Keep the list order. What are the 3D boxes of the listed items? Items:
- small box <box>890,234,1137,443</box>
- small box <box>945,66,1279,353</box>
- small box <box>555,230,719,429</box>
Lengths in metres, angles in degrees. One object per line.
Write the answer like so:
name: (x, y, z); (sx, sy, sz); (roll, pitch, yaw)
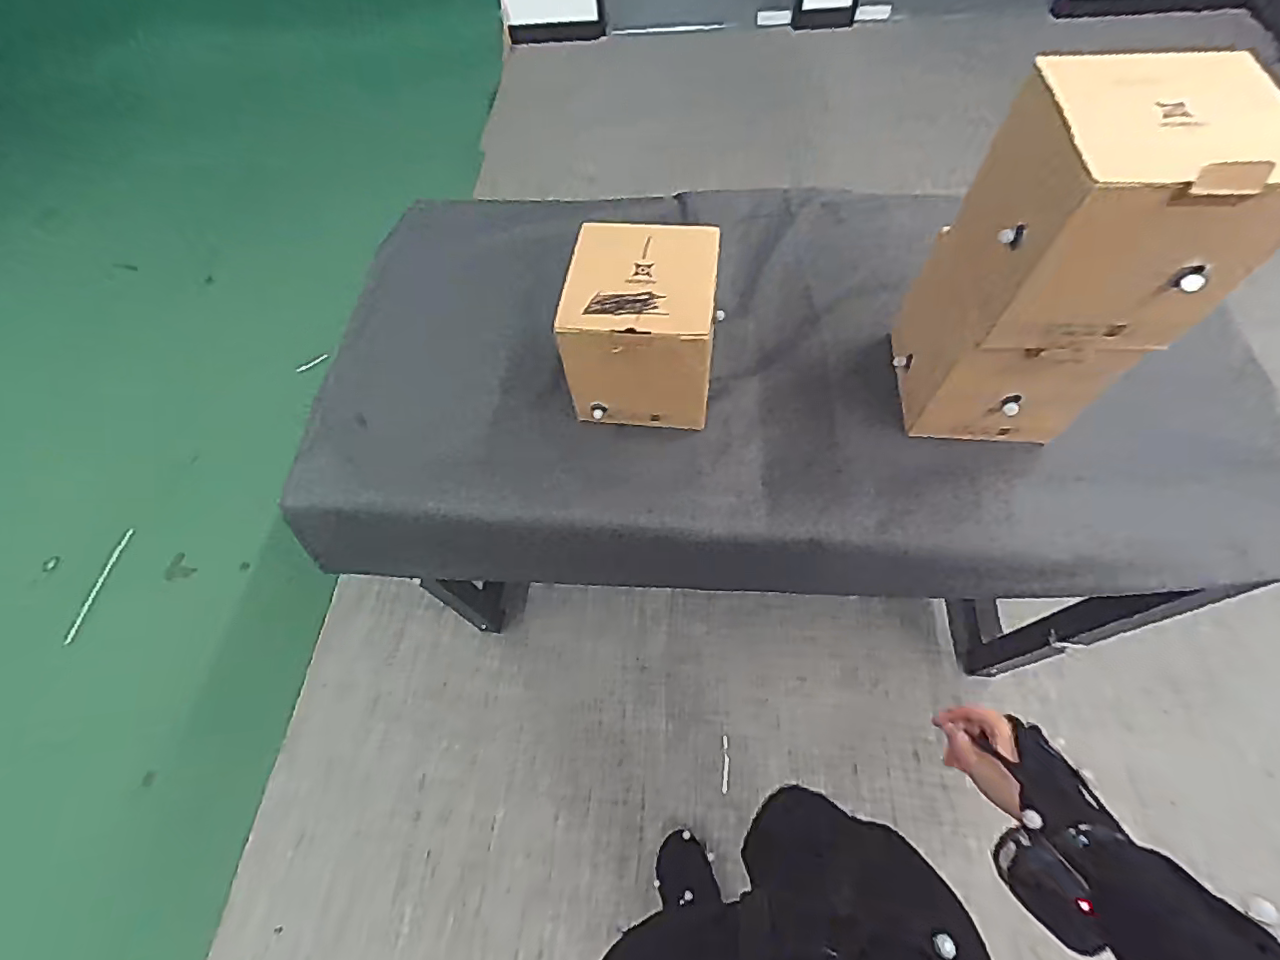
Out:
small box: (0.410, -0.158, 0.631); (0.168, 0.176, 0.179); (4, 61, 6)
small box: (0.405, -0.233, 0.487); (0.168, 0.176, 0.179); (3, 60, 5)
small box: (0.006, -0.181, 0.674); (0.168, 0.176, 0.179); (5, 60, 7)
